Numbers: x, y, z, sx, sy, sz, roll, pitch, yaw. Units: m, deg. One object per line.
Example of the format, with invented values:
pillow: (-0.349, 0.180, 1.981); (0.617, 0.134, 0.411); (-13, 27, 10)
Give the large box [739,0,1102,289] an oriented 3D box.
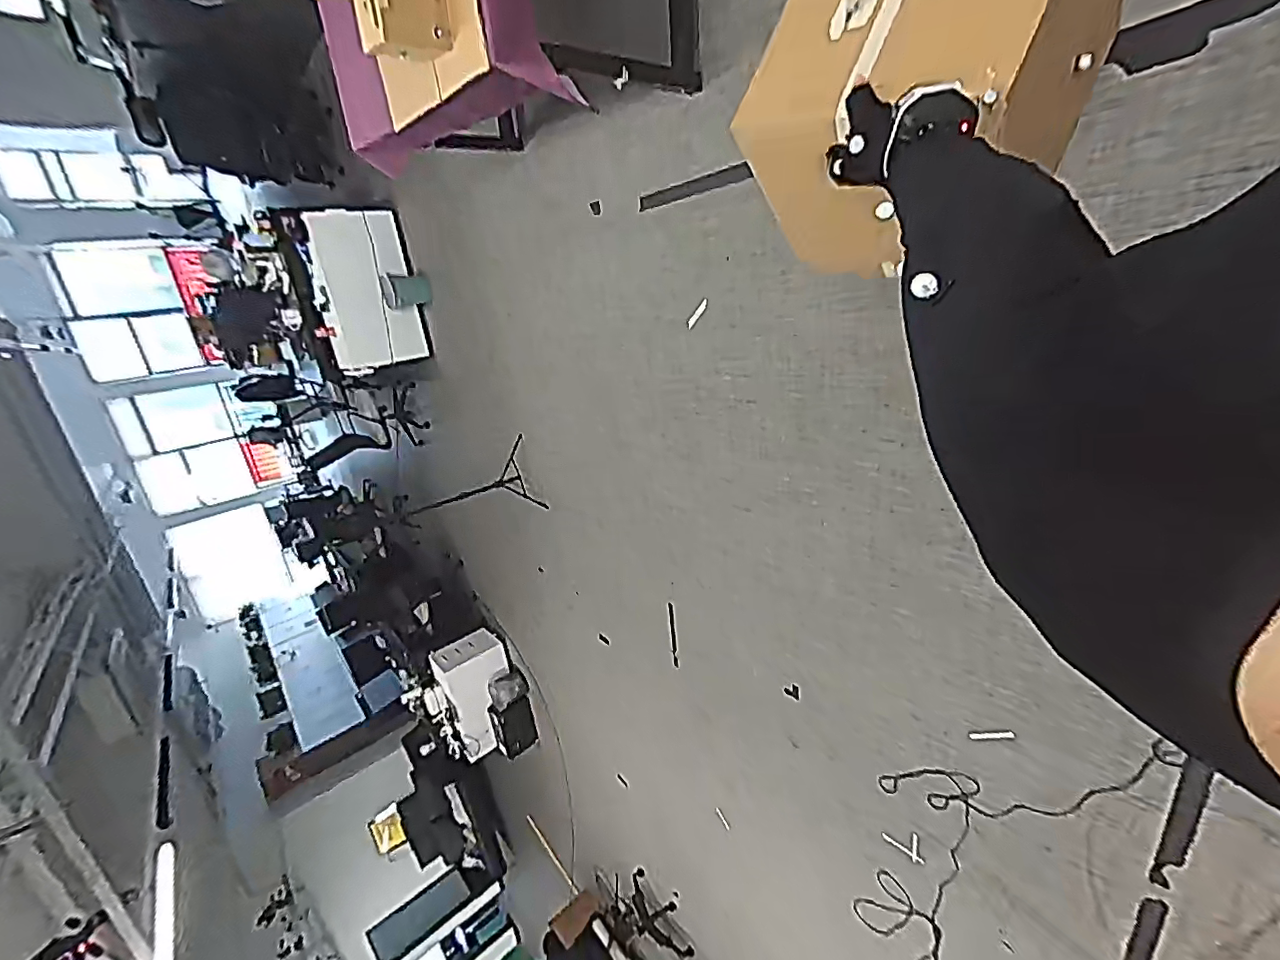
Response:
large box: (0.399, -0.537, 0.749); (0.320, 0.320, 0.408); (22, 87, 39)
